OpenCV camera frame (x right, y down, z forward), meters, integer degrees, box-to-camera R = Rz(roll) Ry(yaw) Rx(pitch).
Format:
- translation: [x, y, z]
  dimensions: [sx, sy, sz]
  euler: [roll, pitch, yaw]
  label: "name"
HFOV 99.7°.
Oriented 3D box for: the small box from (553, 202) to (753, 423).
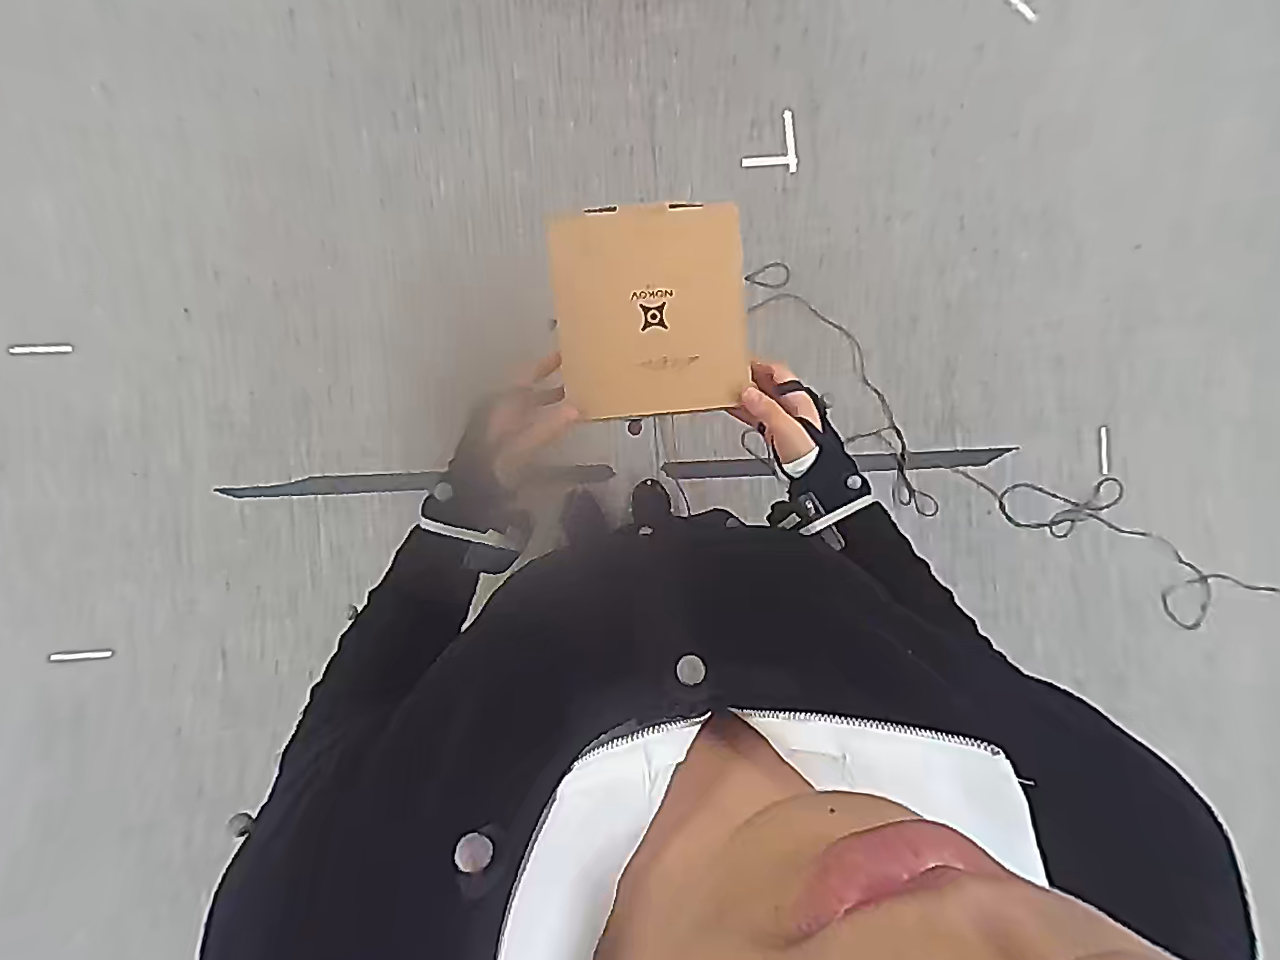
- translation: [0.003, -0.152, 0.540]
  dimensions: [0.168, 0.176, 0.179]
  euler: [-6, 96, -6]
  label: "small box"
